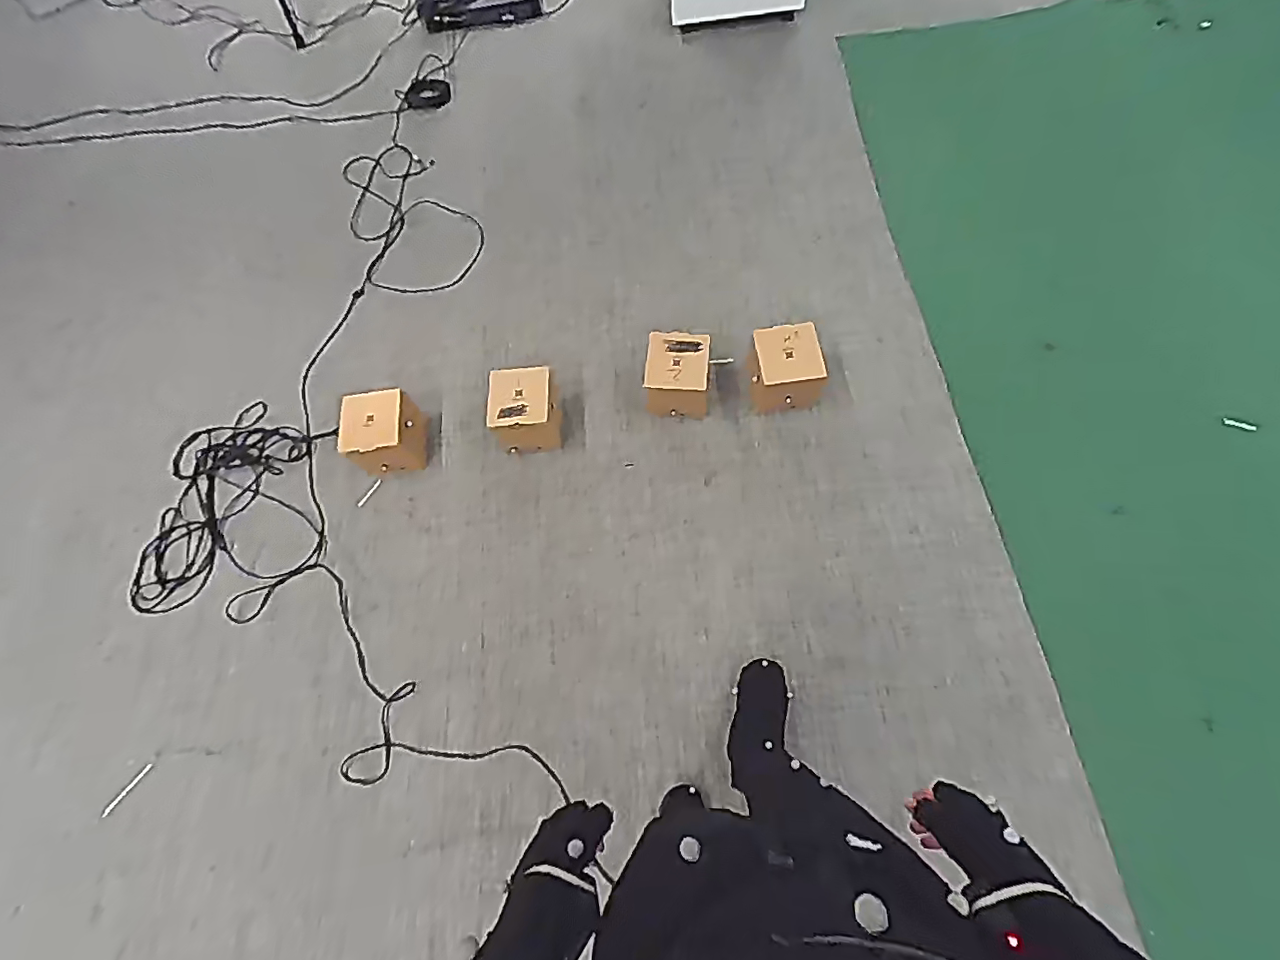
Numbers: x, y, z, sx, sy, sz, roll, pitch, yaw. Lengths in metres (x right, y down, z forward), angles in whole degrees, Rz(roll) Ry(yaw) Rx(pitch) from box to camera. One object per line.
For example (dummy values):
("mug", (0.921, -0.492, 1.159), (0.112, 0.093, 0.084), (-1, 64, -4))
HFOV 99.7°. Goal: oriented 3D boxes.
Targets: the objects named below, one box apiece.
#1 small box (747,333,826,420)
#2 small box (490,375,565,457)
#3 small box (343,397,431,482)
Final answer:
("small box", (0.400, -0.279, 1.501), (0.168, 0.176, 0.179), (-7, 68, 1))
("small box", (-0.310, -0.171, 1.519), (0.168, 0.176, 0.179), (-4, 68, 4))
("small box", (-0.709, -0.111, 1.534), (0.168, 0.176, 0.179), (-8, 68, 2))
